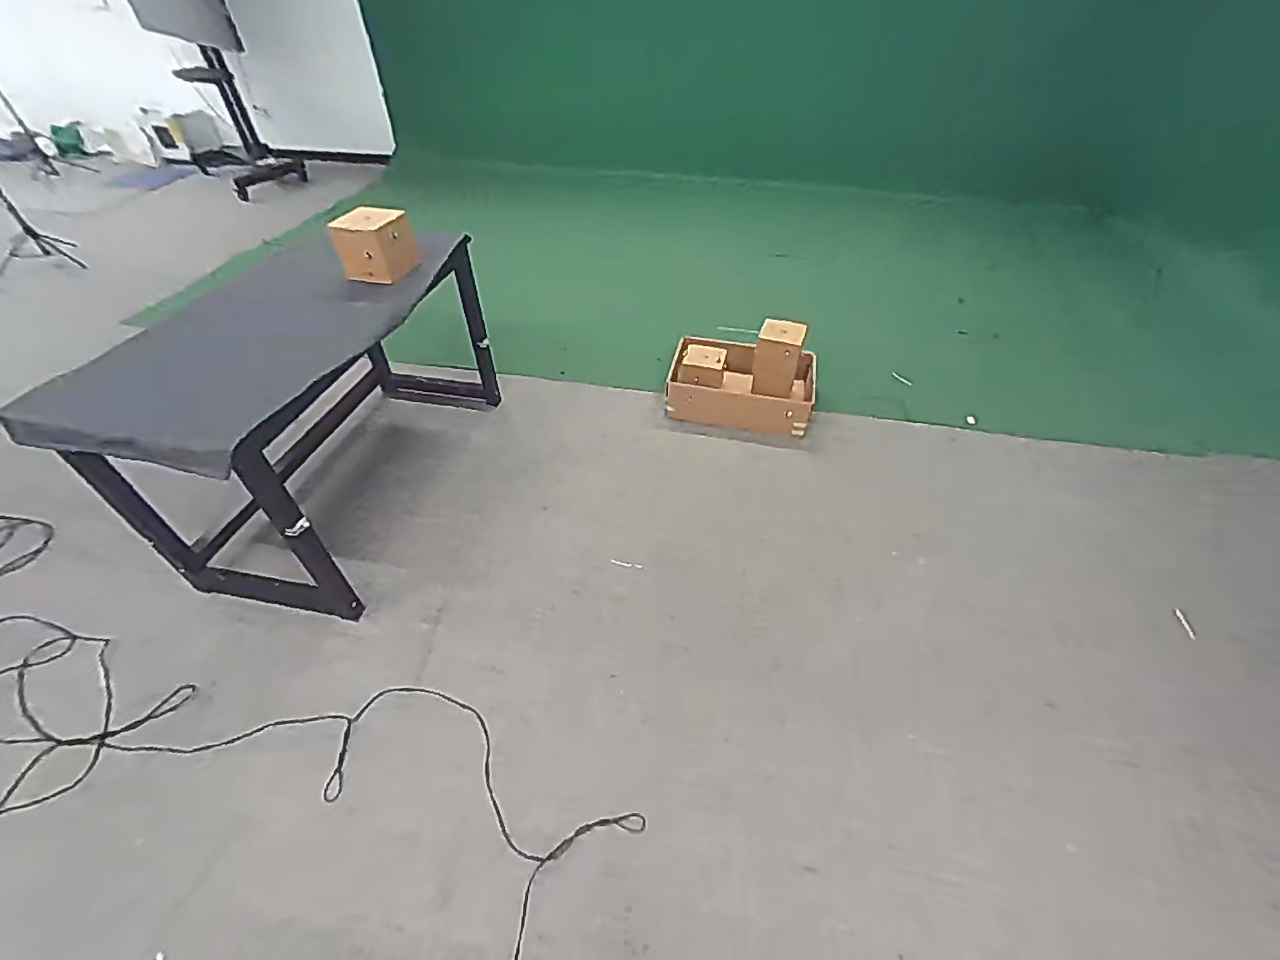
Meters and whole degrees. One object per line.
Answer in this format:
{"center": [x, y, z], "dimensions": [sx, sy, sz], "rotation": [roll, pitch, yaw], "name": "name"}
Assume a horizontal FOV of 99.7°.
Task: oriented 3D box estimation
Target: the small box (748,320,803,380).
{"center": [0.565, -0.541, 2.258], "dimensions": [0.179, 0.176, 0.168], "rotation": [15, 47, 14], "name": "small box"}

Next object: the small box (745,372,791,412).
{"center": [0.564, -0.428, 2.378], "dimensions": [0.168, 0.176, 0.179], "rotation": [14, 48, 14], "name": "small box"}

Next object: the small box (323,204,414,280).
{"center": [-0.842, -0.747, 1.702], "dimensions": [0.168, 0.176, 0.179], "rotation": [11, 45, 10], "name": "small box"}
